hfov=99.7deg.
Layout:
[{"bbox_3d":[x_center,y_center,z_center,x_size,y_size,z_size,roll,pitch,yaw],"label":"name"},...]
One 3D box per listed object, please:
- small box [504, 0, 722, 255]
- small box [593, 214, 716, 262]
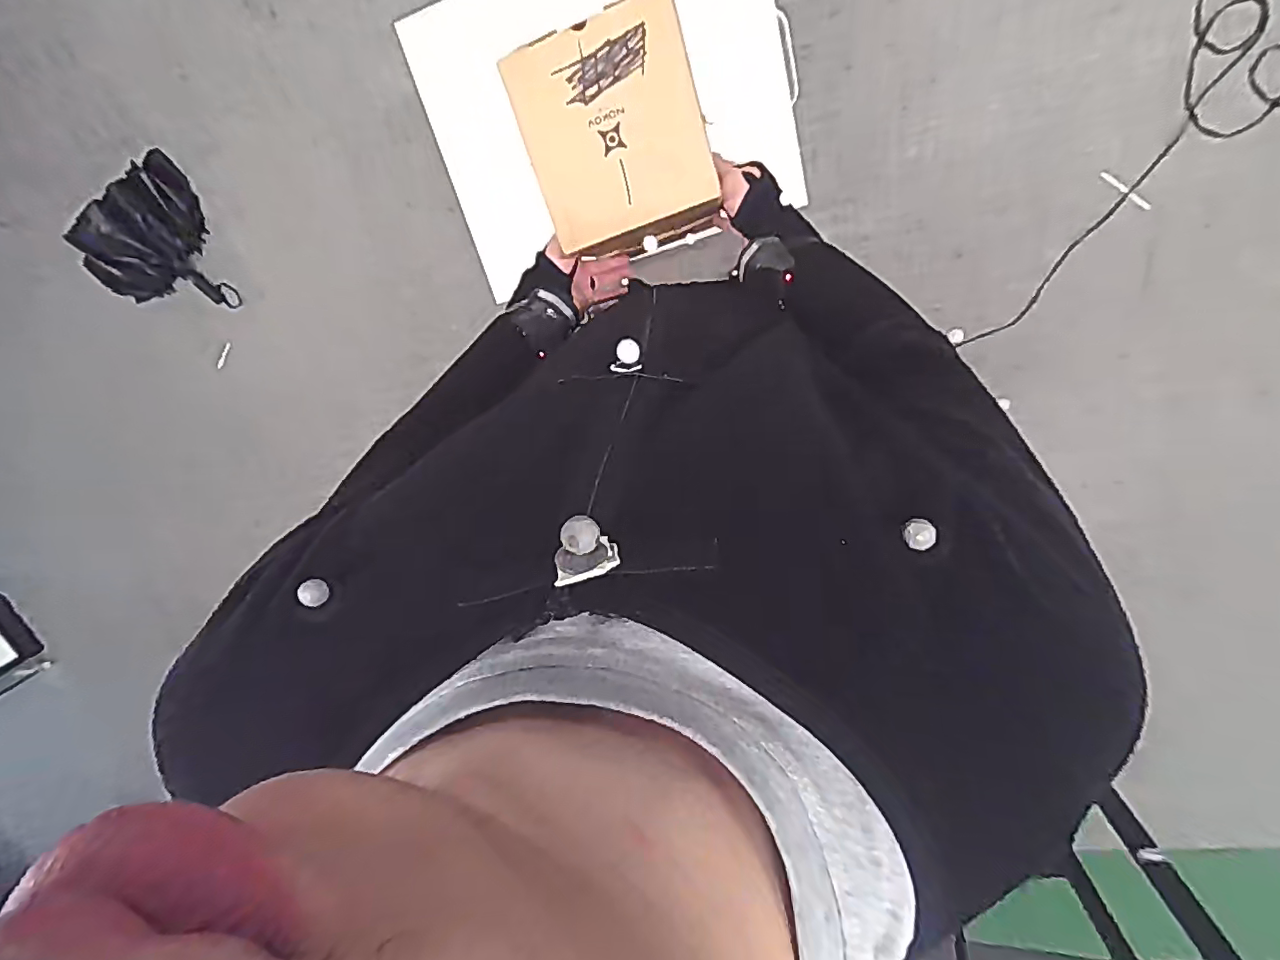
[{"bbox_3d":[-0.015,-0.353,0.576,0.168,0.176,0.179,-14,109,13],"label":"small box"},{"bbox_3d":[0.003,-0.408,0.729,0.168,0.176,0.179,-16,107,13],"label":"small box"}]
